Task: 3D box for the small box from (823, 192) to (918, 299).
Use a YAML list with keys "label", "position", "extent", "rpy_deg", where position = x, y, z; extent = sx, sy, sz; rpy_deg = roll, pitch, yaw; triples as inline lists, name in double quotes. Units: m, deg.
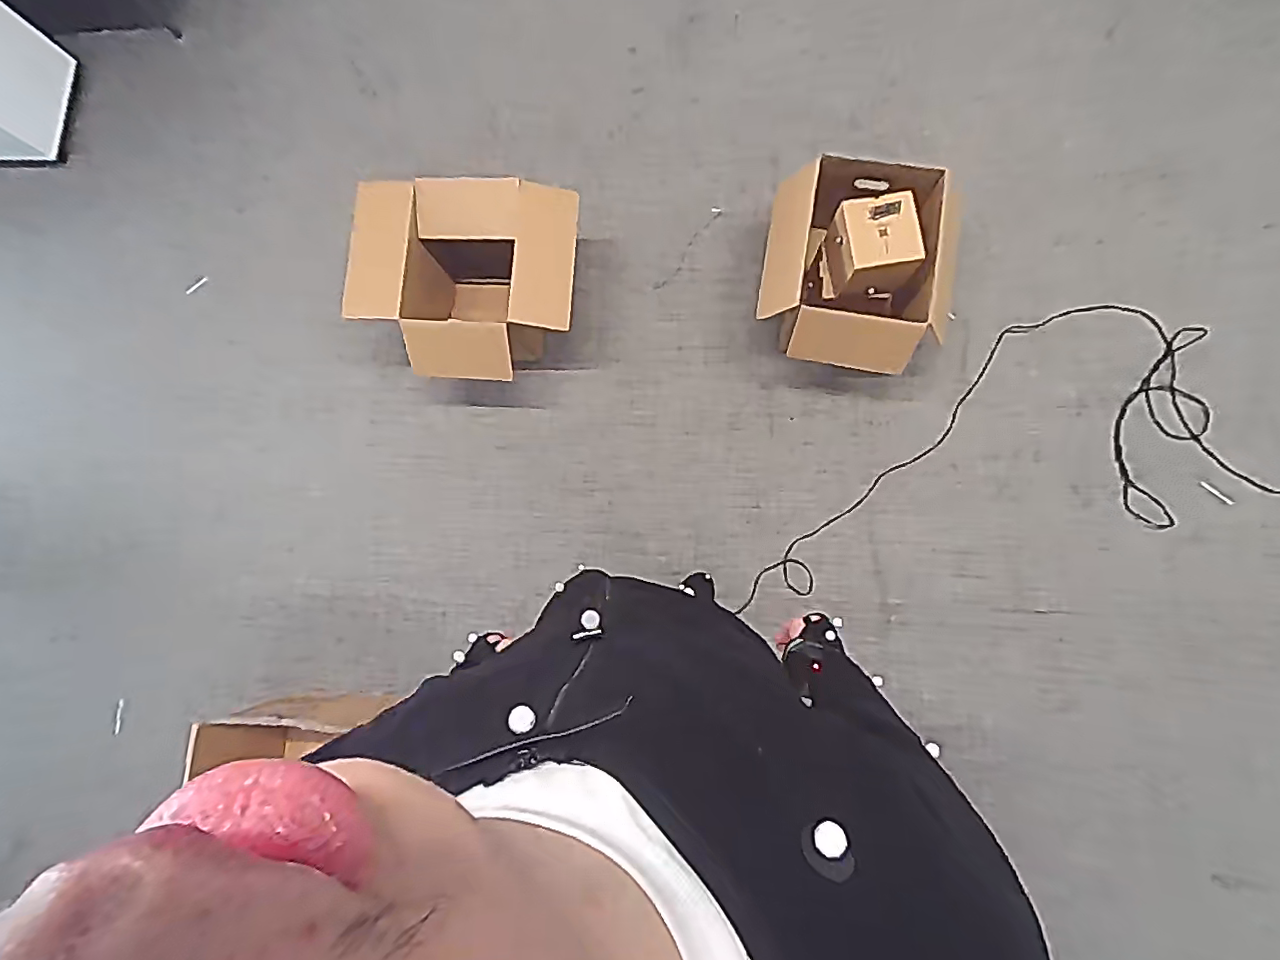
- label: "small box"
  position: [0.562, -0.577, 1.344]
  extent: [0.168, 0.176, 0.179]
  rpy_deg: [-5, 82, 5]
